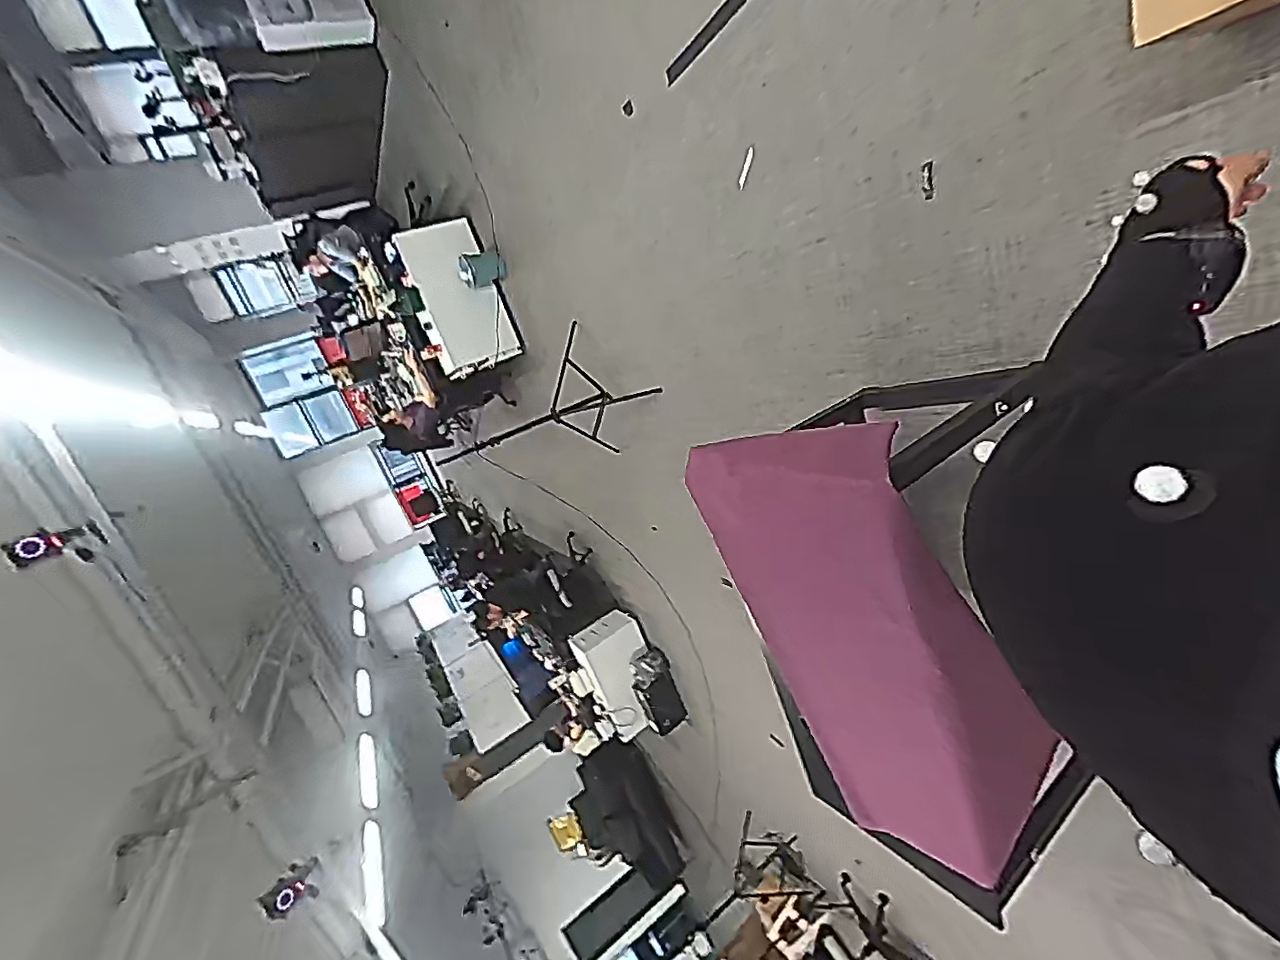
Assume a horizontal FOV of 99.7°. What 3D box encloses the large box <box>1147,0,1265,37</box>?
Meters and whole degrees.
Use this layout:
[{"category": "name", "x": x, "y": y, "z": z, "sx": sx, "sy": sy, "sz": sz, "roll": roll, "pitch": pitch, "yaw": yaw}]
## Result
[{"category": "large box", "x": 0.868, "y": -0.873, "z": 0.663, "sx": 0.320, "sy": 0.320, "sz": 0.408, "roll": 12, "pitch": 127, "yaw": 61}]
